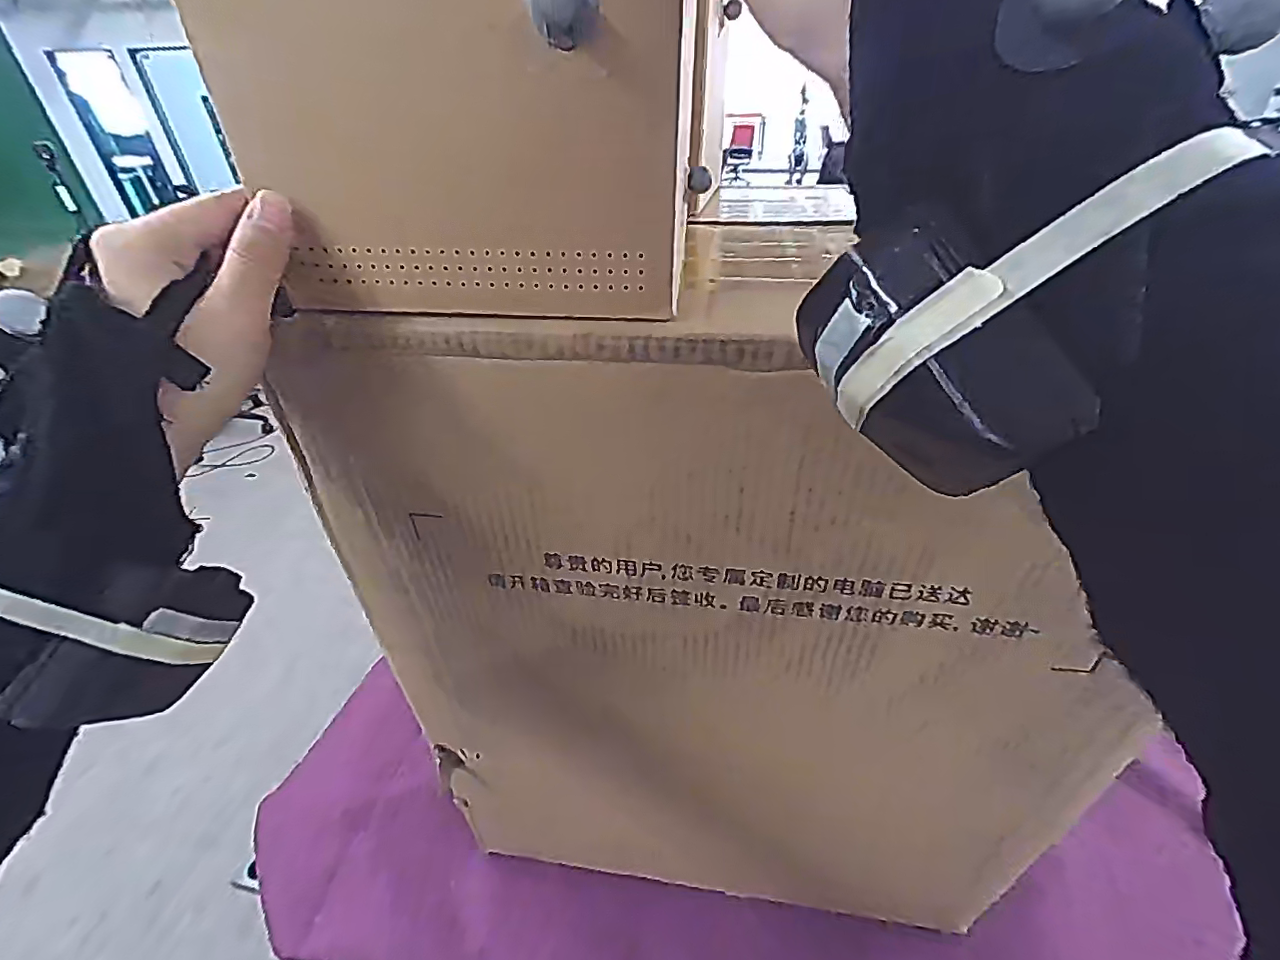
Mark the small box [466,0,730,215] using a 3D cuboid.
[{"bbox_3d":[-0.018,-0.321,0.439,0.168,0.176,0.179,7,36,10],"label":"small box"}]
